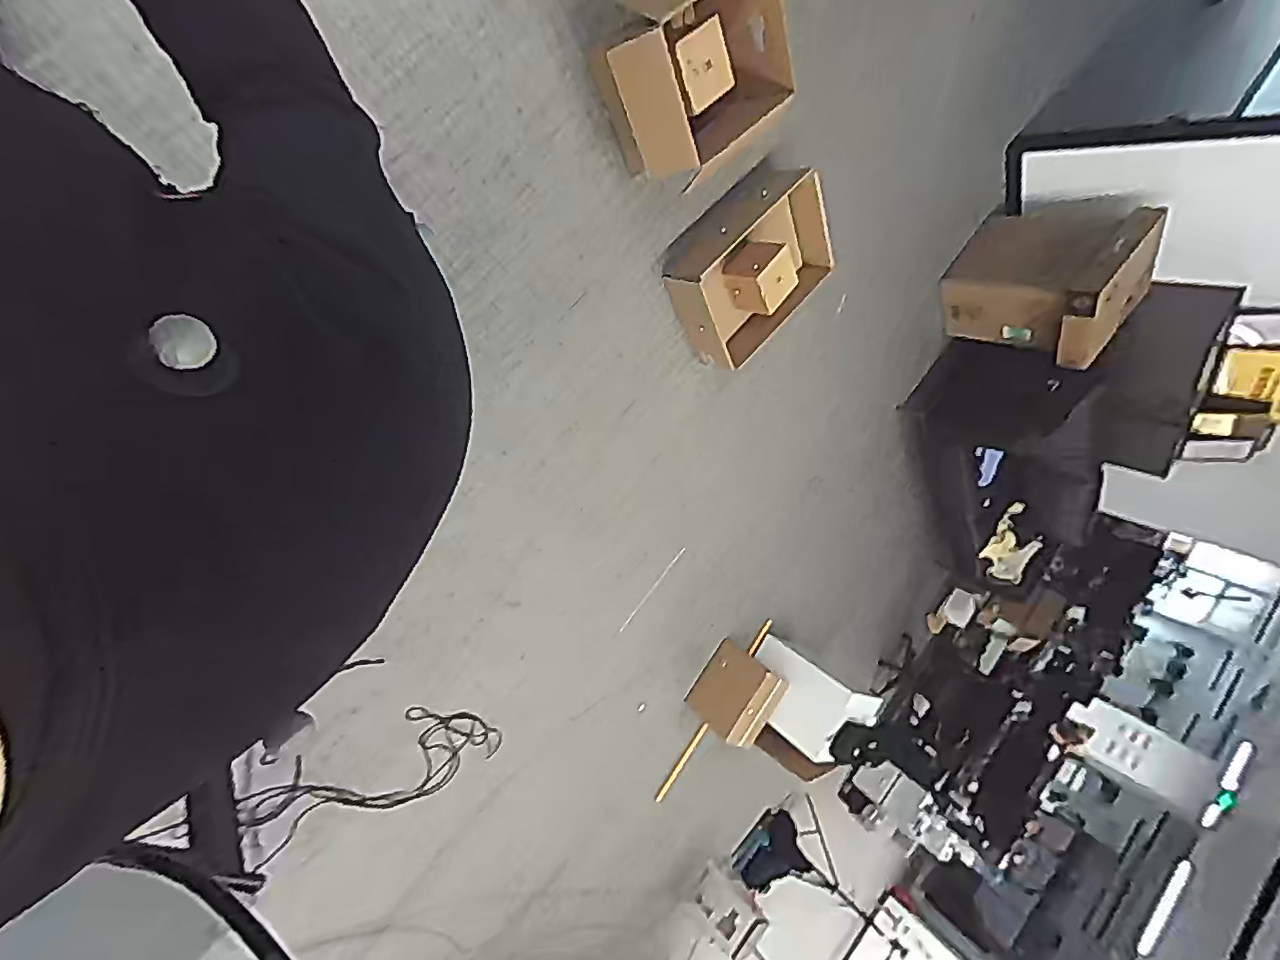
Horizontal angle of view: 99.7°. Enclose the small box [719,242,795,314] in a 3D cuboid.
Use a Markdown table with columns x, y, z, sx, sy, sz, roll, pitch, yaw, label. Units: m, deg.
| x | y | z | sx | sy | sz | roll | pitch | yaw | label |
| --- | --- | --- | --- | --- | --- | --- | --- | --- | --- |
| 0.413 | -0.720 | 1.912 | 0.179 | 0.176 | 0.168 | -50 | 136 | -10 | small box |
